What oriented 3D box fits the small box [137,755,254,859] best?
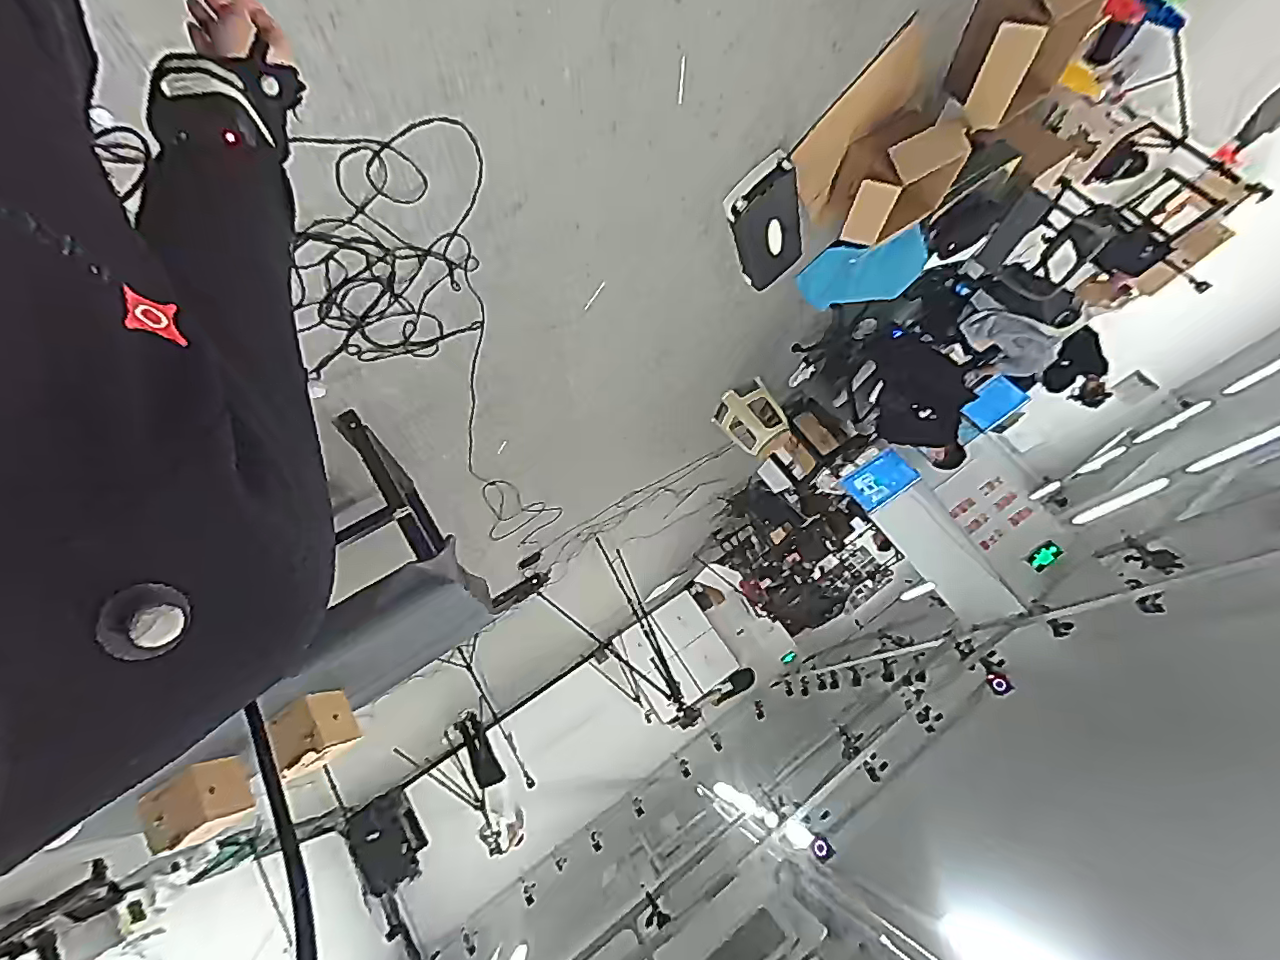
[{"bbox_3d":[-1.253,0.911,1.526,0.168,0.176,0.179,-34,163,-5],"label":"small box"}]
